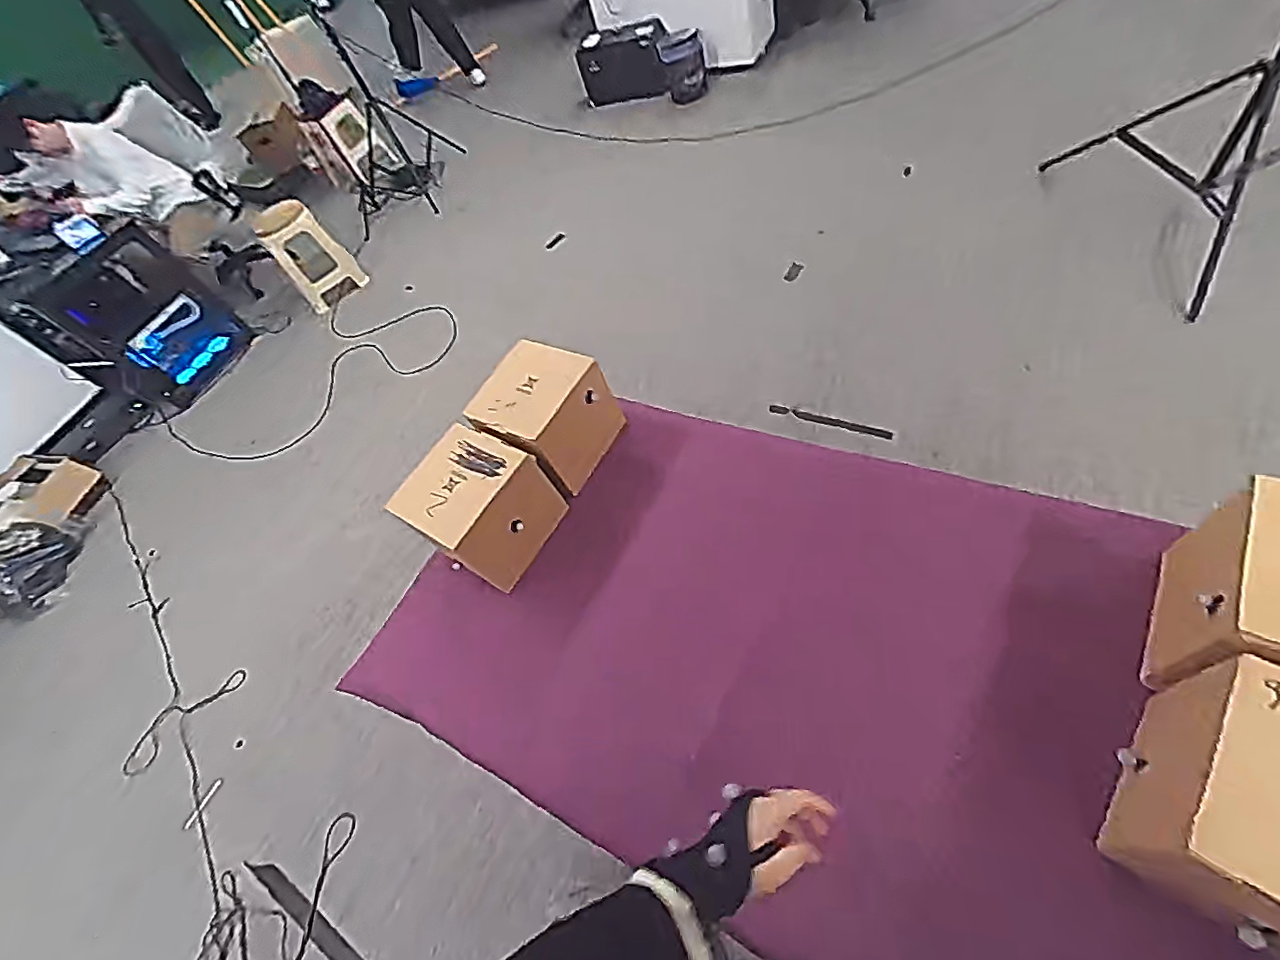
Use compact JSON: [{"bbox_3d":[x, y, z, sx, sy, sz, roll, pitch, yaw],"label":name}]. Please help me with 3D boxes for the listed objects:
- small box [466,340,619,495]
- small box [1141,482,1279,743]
[{"bbox_3d":[-0.154,-0.106,0.932,0.168,0.176,0.179,21,67,29],"label":"small box"},{"bbox_3d":[0.627,0.137,0.514,0.168,0.176,0.179,21,65,28],"label":"small box"}]
